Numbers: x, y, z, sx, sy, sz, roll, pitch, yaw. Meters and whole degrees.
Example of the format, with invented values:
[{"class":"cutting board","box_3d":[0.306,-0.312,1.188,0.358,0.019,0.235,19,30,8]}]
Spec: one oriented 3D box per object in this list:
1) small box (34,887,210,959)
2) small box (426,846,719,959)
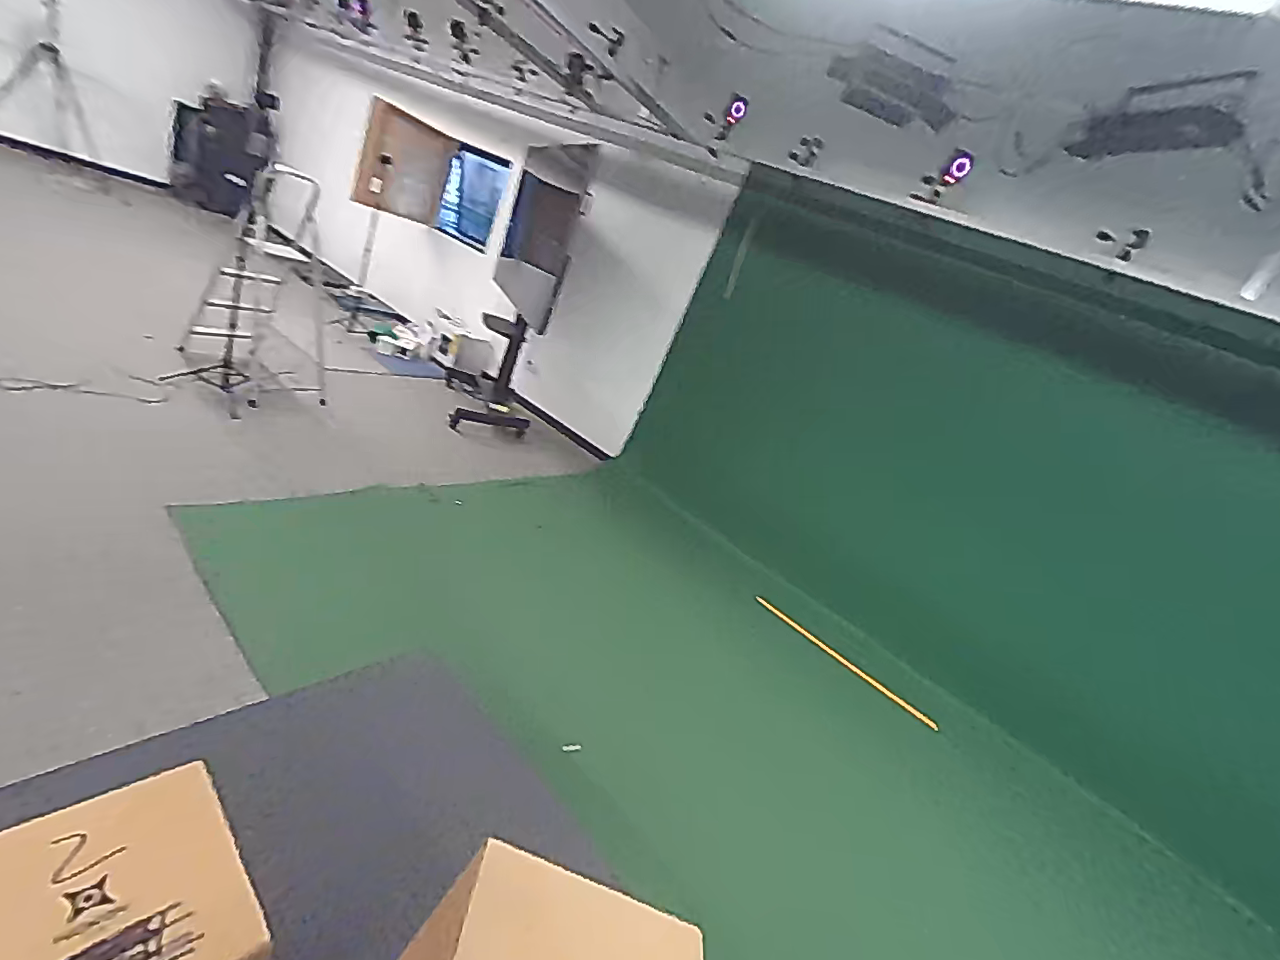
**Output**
[{"class":"small box","box_3d":[-0.457,0.505,0.439,0.179,0.176,0.168,35,22,29]},{"class":"small box","box_3d":[-0.062,0.365,0.300,0.168,0.176,0.179,30,19,-8]}]
